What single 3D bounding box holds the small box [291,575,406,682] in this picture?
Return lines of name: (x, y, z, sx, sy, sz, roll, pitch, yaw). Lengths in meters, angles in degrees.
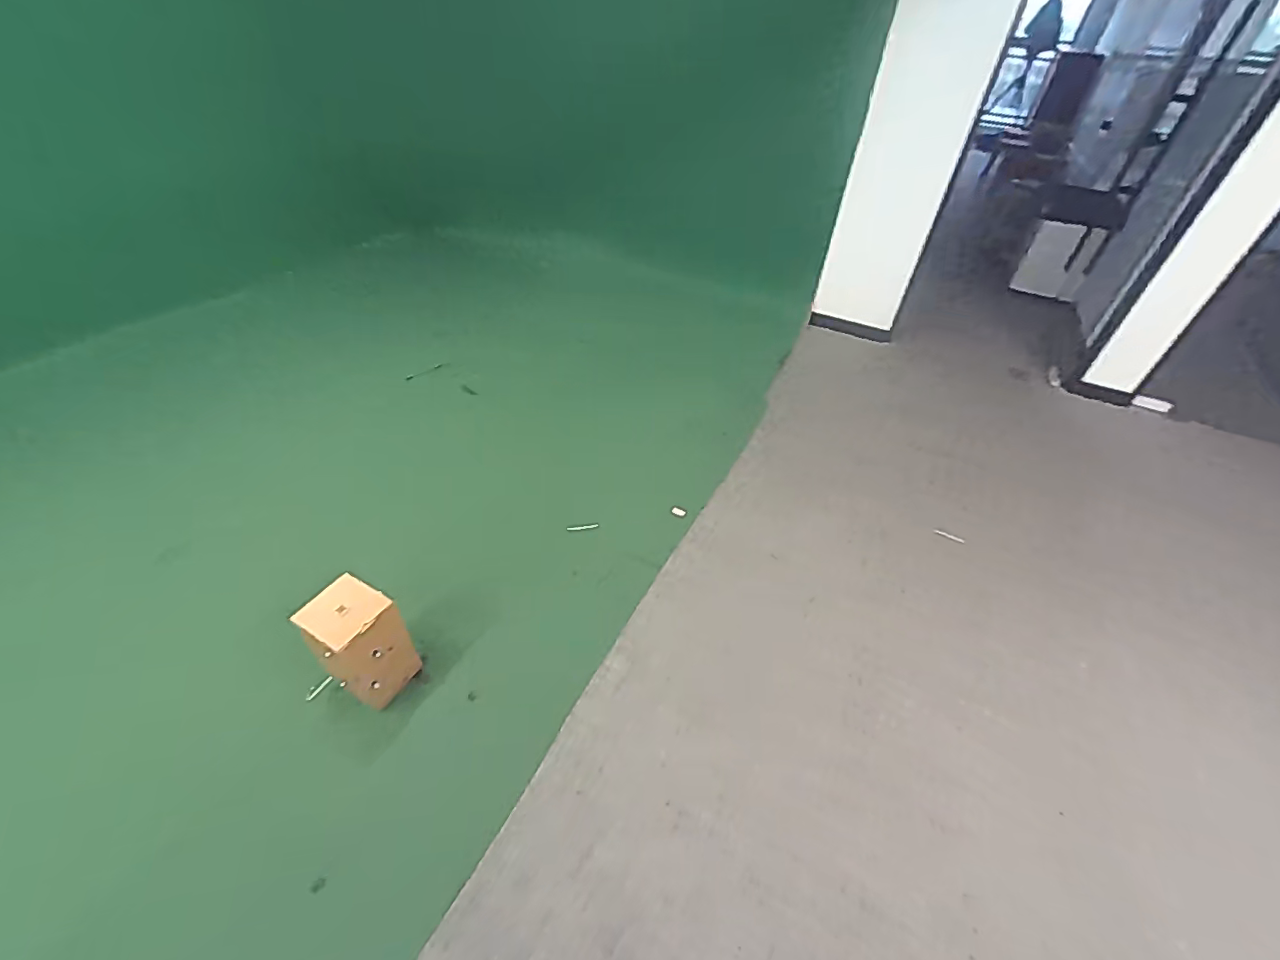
small box: (-0.736, 0.383, 1.383, 0.179, 0.176, 0.168, 22, 46, 19)
